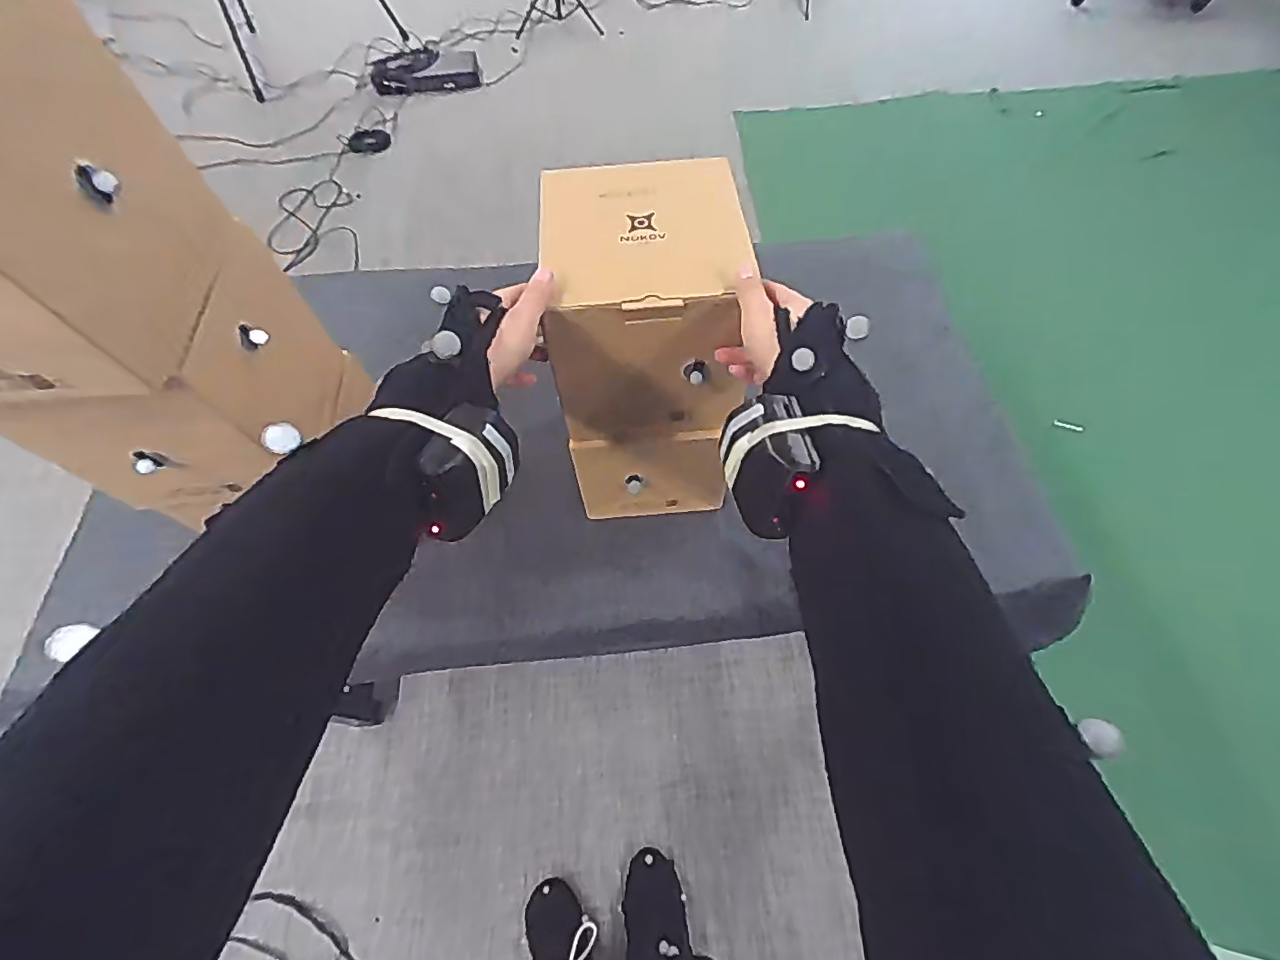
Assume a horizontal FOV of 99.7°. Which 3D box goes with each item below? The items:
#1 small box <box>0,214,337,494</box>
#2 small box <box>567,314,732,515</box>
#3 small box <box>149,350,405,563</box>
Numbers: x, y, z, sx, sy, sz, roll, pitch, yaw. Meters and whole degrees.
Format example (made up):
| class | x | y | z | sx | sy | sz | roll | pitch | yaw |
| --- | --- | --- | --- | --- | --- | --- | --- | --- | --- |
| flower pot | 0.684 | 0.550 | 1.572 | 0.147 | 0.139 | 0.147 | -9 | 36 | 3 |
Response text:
| class | x | y | z | sx | sy | sz | roll | pitch | yaw |
| --- | --- | --- | --- | --- | --- | --- | --- | --- | --- |
| small box | -0.396 | -0.098 | 0.472 | 0.168 | 0.176 | 0.179 | -5 | 60 | -2 |
| small box | 0.009 | -0.067 | 0.636 | 0.168 | 0.176 | 0.179 | -4 | 60 | -1 |
| small box | -0.387 | -0.022 | 0.619 | 0.168 | 0.176 | 0.179 | -6 | 60 | -2 |
